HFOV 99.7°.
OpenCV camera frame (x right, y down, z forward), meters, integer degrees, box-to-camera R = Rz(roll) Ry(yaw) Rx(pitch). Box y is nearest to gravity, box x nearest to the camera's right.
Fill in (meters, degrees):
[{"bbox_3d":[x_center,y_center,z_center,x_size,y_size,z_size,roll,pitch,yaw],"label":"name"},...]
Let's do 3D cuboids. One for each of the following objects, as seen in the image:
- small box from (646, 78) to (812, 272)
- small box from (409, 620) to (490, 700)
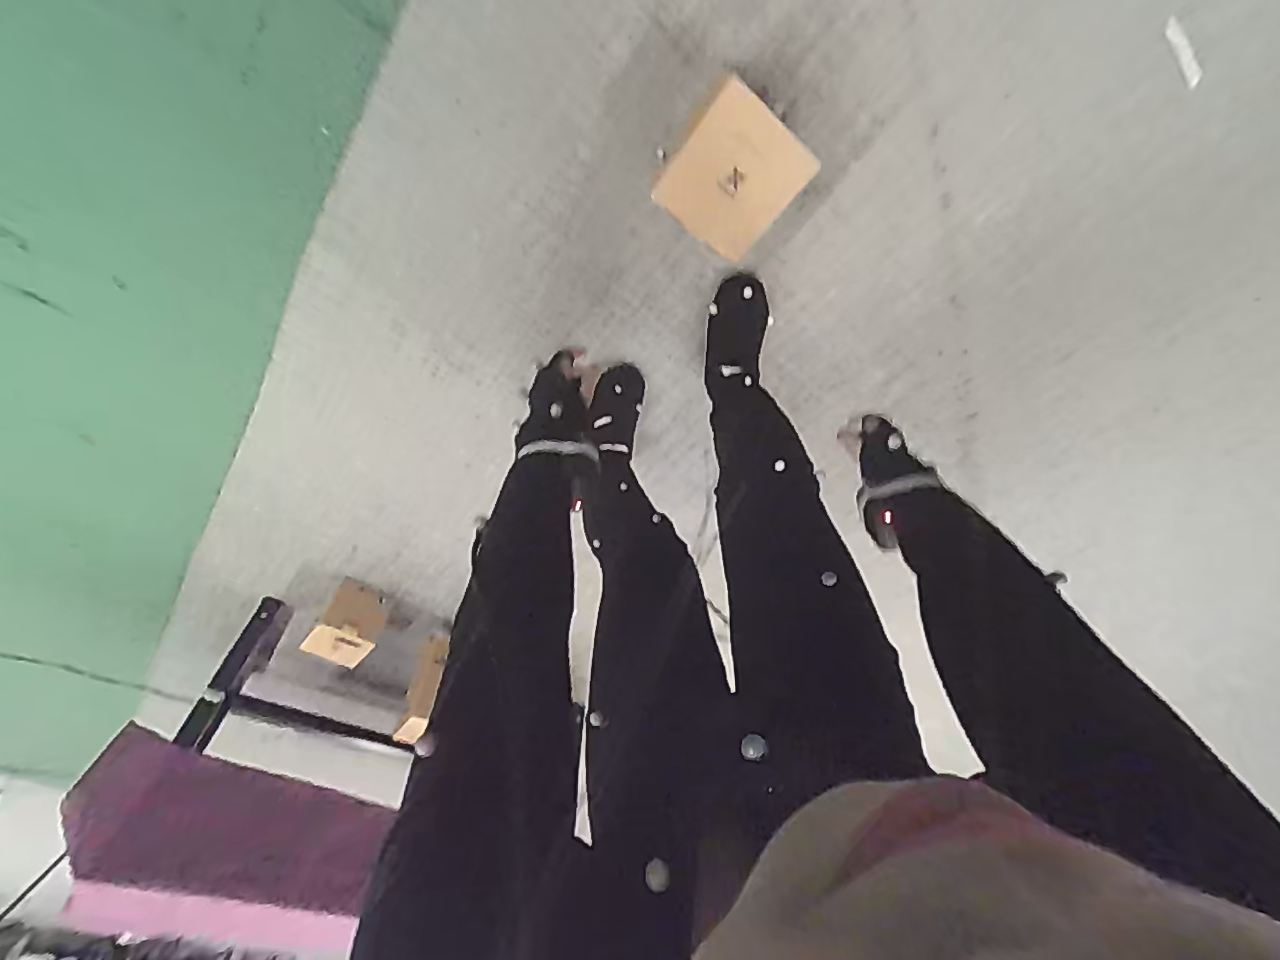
[{"bbox_3d":[0.126,-0.459,0.814,0.168,0.176,0.179,31,125,-23],"label":"small box"},{"bbox_3d":[-0.610,0.581,1.757,0.179,0.176,0.168,31,125,-22],"label":"small box"}]
